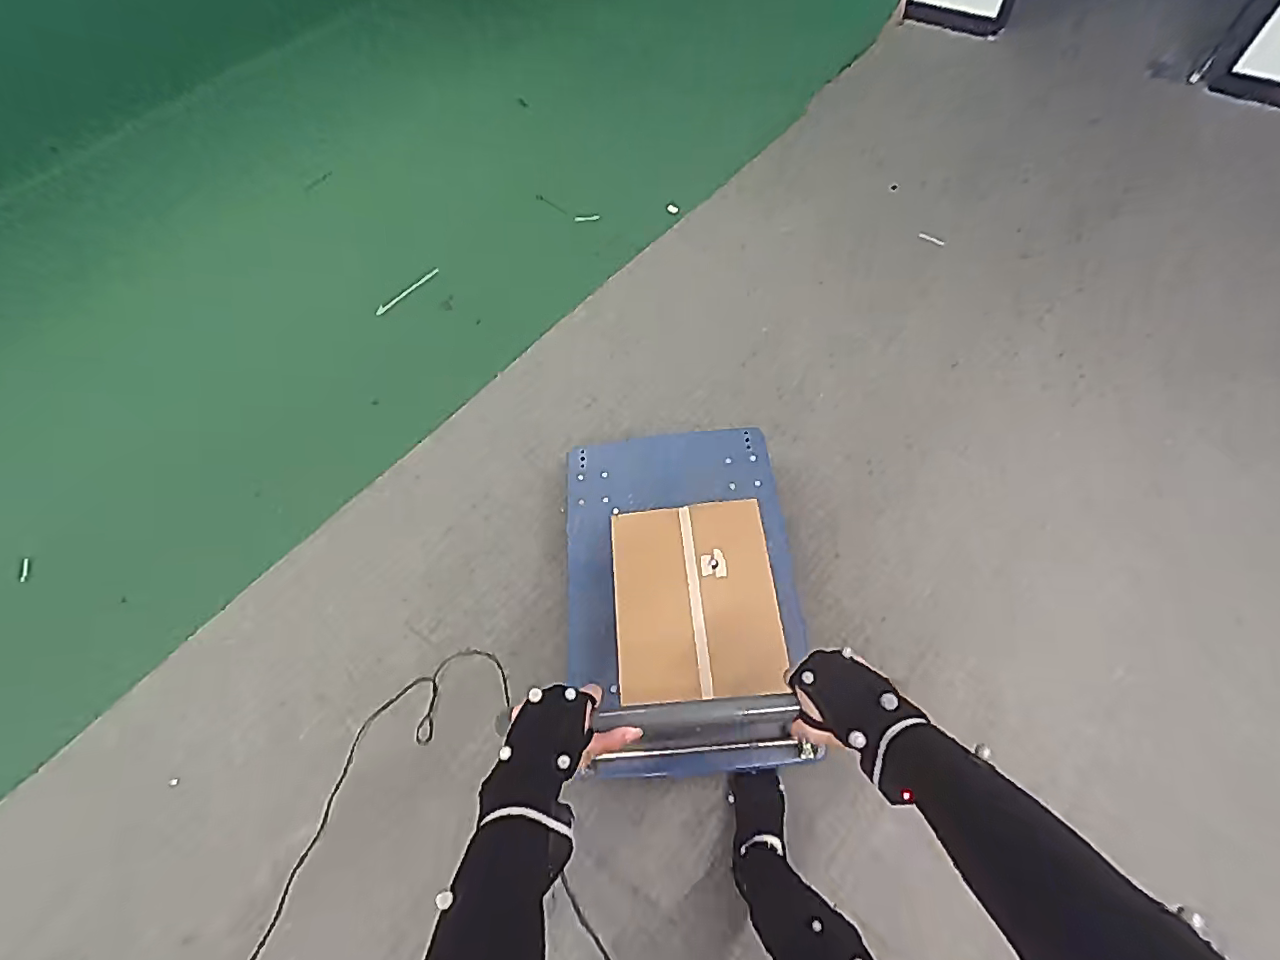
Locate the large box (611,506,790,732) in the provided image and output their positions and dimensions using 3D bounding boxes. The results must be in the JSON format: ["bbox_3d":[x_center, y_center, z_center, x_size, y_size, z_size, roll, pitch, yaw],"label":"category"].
[{"bbox_3d":[0.121,0.318,1.202,0.320,0.320,0.408,-6,60,3],"label":"large box"}]
